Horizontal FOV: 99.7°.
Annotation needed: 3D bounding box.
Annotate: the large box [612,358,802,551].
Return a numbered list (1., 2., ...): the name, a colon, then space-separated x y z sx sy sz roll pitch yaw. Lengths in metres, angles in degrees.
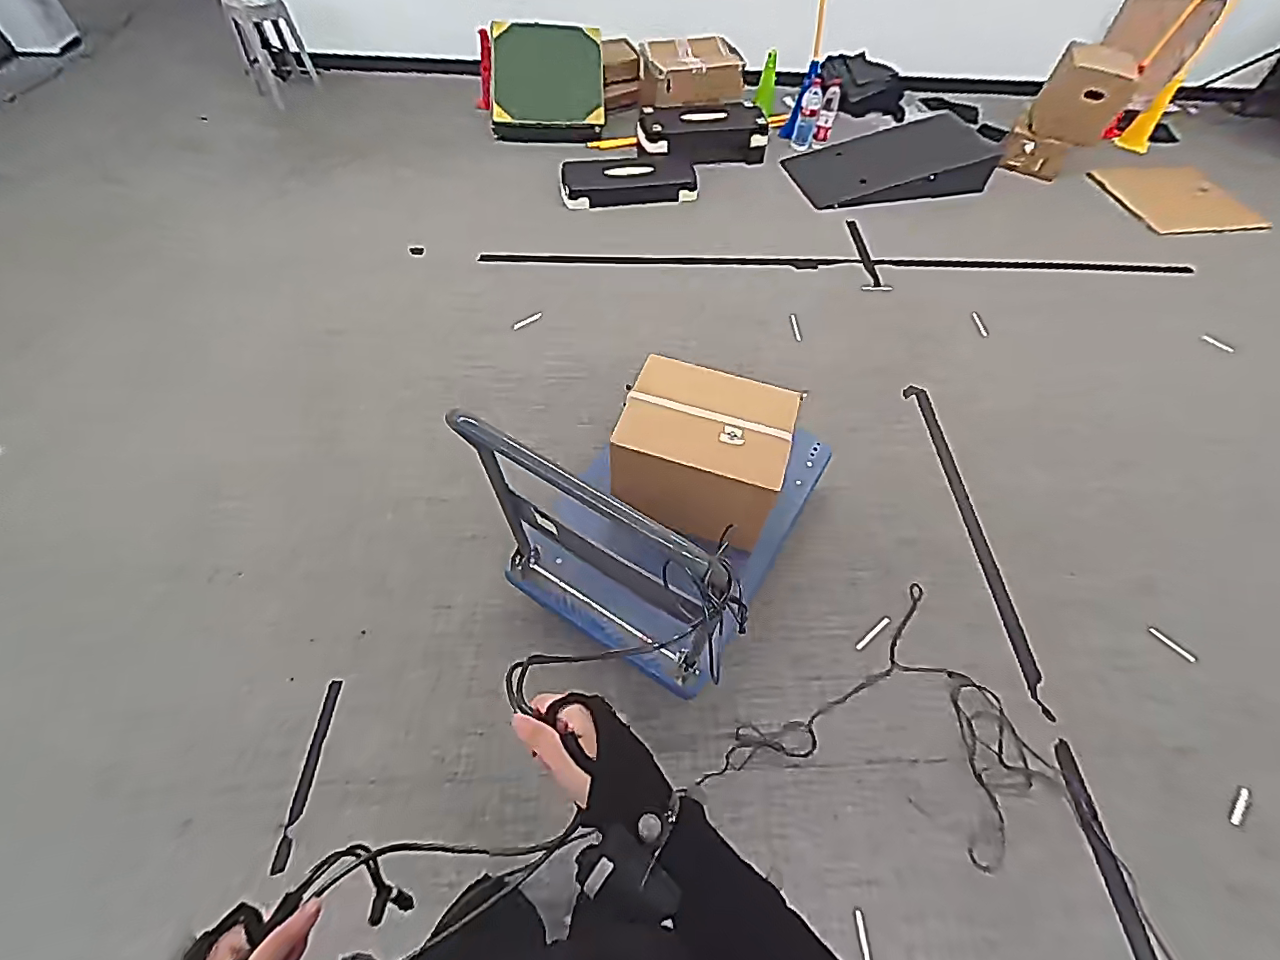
1. large box: 0.160 -0.063 1.411 0.408 0.320 0.320 17 58 8
